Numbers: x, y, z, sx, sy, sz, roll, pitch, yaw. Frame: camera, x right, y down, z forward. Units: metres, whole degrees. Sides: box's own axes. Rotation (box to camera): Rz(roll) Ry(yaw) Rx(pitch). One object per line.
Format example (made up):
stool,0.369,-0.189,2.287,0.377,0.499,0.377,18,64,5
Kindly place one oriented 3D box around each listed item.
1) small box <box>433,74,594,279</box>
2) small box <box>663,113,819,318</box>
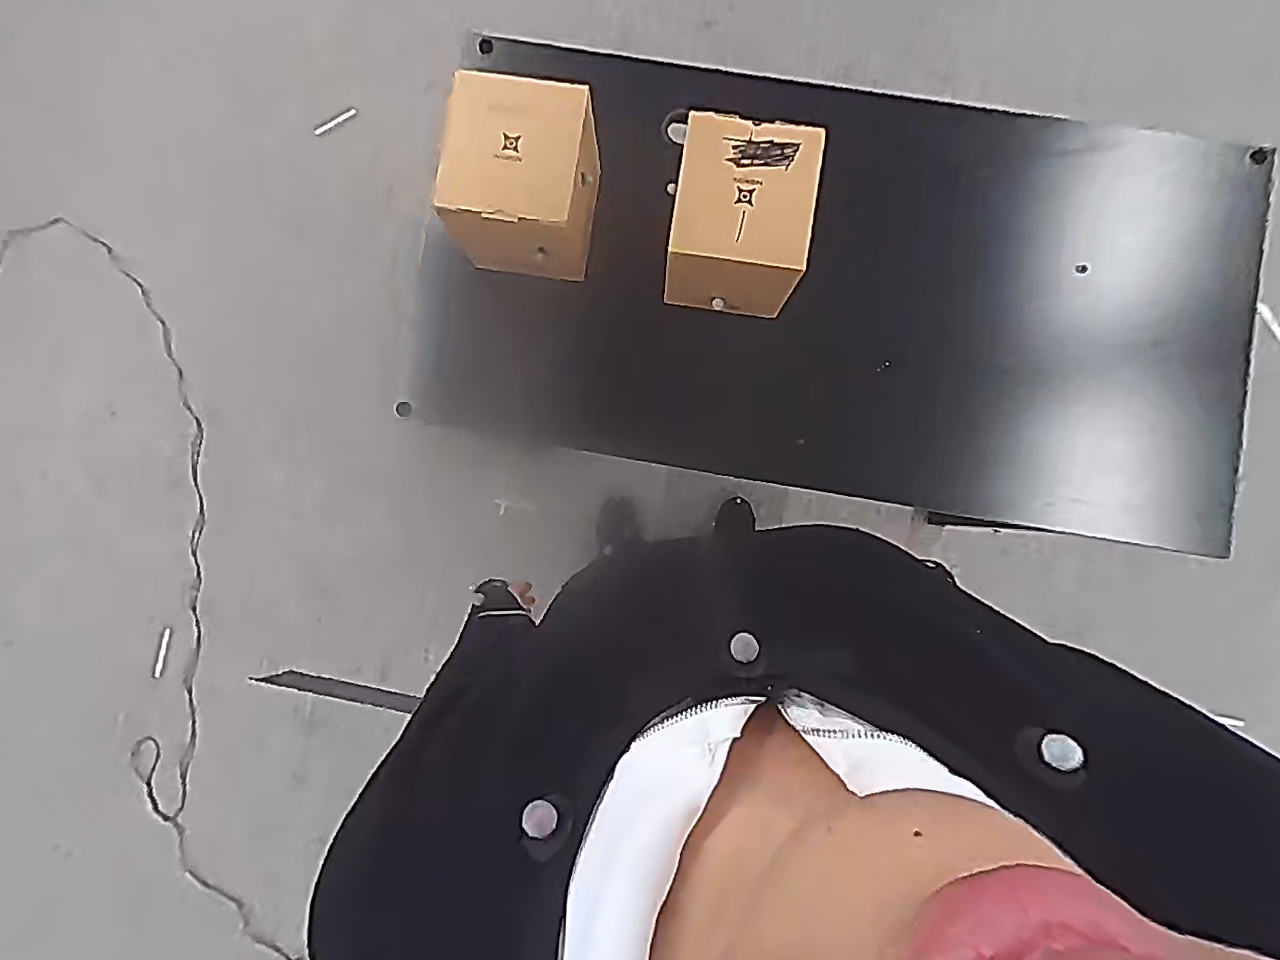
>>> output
small box,-0.158,-0.396,0.734,0.168,0.176,0.179,8,86,0
small box,0.123,-0.340,0.724,0.168,0.176,0.179,9,88,2
